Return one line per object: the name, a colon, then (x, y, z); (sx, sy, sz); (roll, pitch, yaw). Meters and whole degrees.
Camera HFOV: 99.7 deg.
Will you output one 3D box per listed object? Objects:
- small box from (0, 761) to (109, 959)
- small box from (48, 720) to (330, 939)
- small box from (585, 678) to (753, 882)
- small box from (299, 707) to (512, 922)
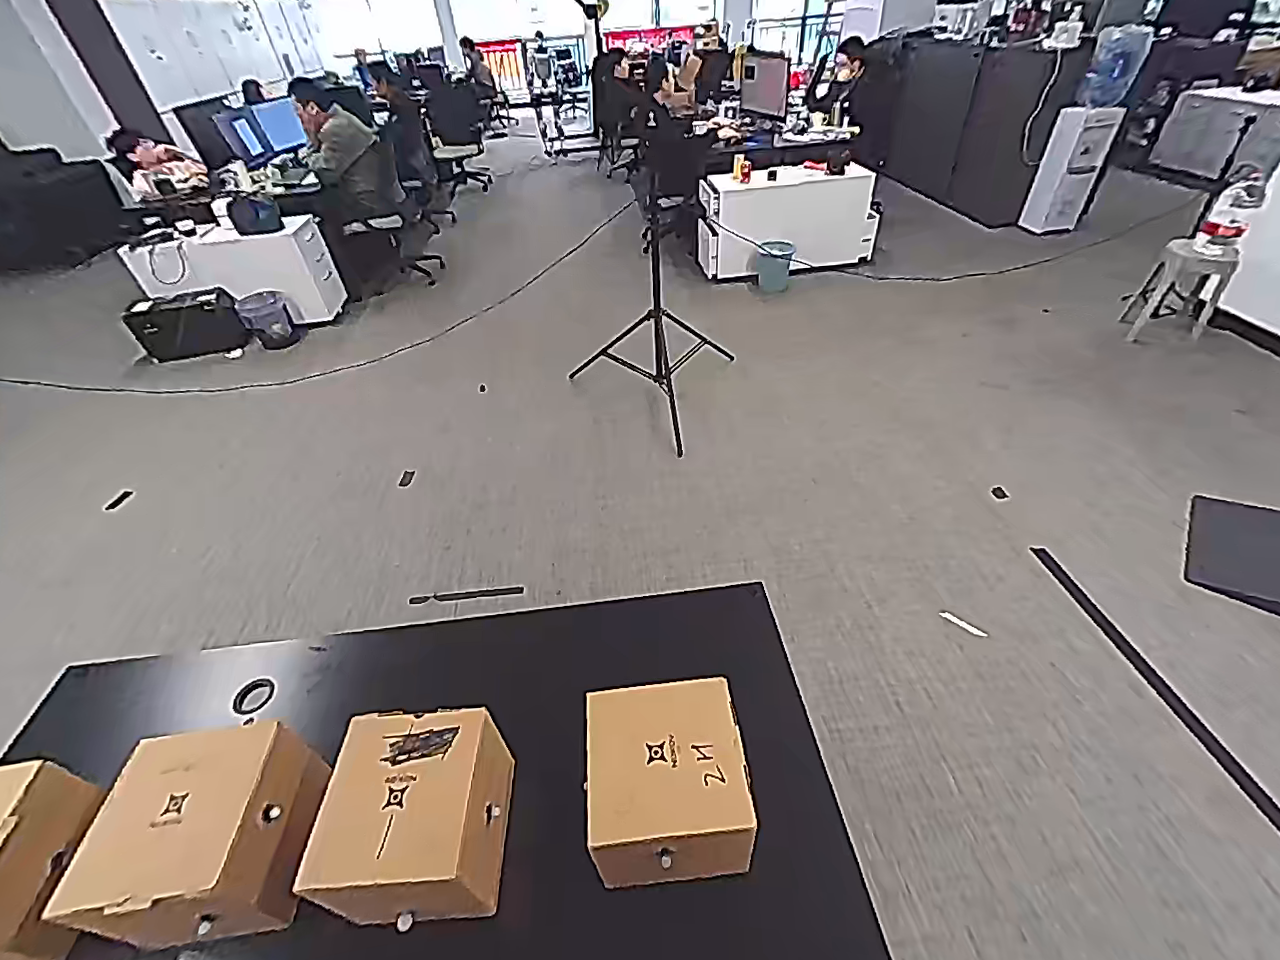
small box: (-0.766, 0.455, 0.626); (0.179, 0.176, 0.168); (-7, 41, -5)
small box: (-0.507, 0.421, 0.648); (0.168, 0.176, 0.179); (-7, 40, -4)
small box: (0.031, 0.367, 0.660); (0.179, 0.176, 0.168); (-6, 41, -1)
small box: (-0.258, 0.399, 0.649); (0.168, 0.176, 0.179); (-4, 42, 0)
